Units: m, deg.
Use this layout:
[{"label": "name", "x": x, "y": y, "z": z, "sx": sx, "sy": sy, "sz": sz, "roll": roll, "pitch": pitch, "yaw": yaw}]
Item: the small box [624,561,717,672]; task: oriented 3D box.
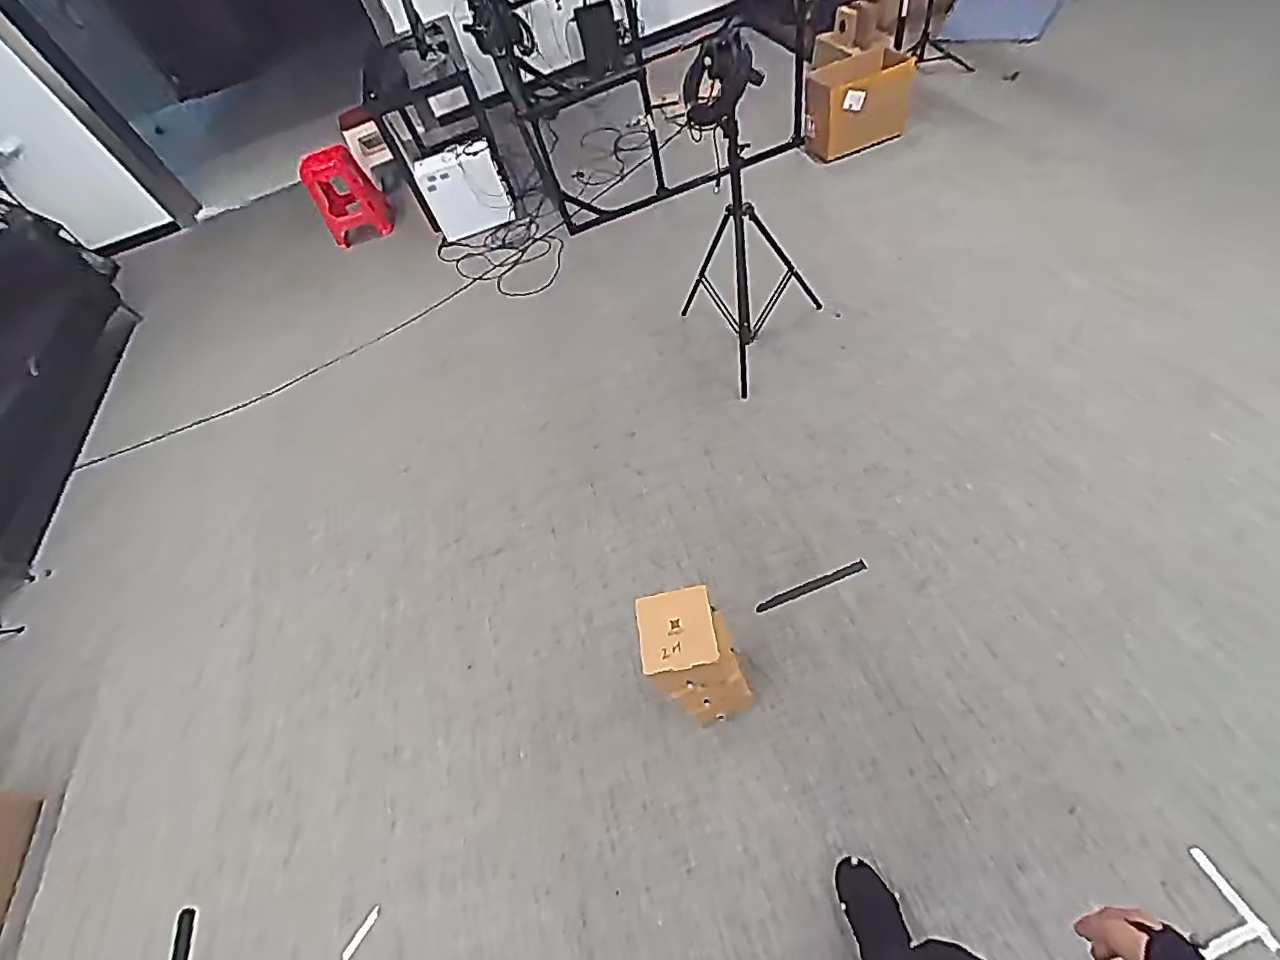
[{"label": "small box", "x": 0.069, "y": 0.306, "z": 1.200, "sx": 0.168, "sy": 0.176, "sz": 0.179, "roll": -13, "pitch": 55, "yaw": 7}]

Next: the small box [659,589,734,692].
[{"label": "small box", "x": 0.124, "y": 0.398, "z": 1.327, "sx": 0.168, "sy": 0.176, "sz": 0.179, "roll": -18, "pitch": 54, "yaw": 4}]

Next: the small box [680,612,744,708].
[{"label": "small box", "x": 0.170, "y": 0.486, "z": 1.454, "sx": 0.168, "sy": 0.176, "sz": 0.179, "roll": -20, "pitch": 53, "yaw": 2}]
